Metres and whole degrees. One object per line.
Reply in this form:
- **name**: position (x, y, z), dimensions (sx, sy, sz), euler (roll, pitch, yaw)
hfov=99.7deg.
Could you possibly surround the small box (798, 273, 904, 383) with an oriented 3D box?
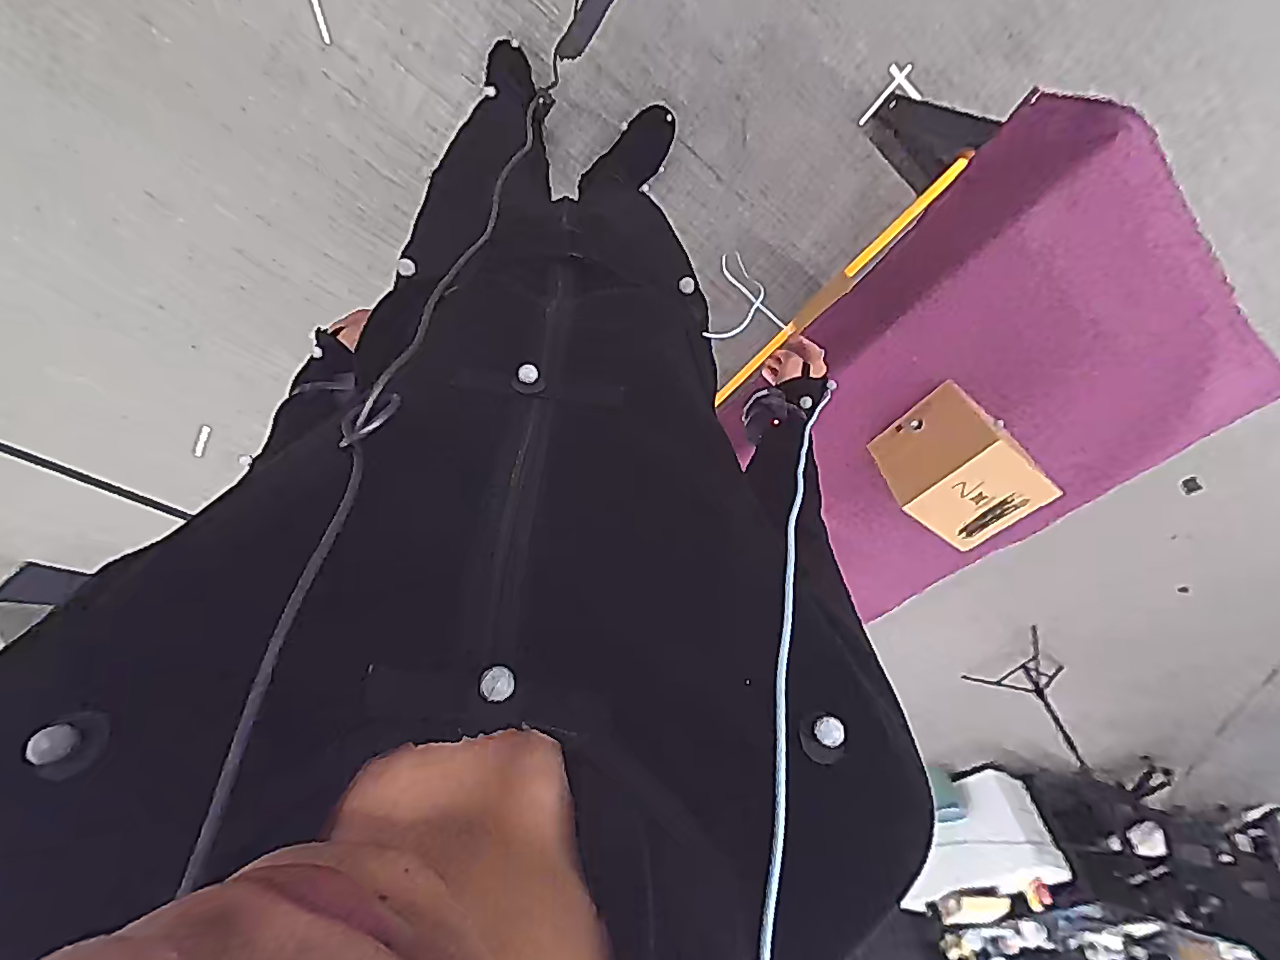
- **small box**: position (0.527, -0.390, 1.384), dimensions (0.168, 0.176, 0.179), euler (29, 124, -24)
